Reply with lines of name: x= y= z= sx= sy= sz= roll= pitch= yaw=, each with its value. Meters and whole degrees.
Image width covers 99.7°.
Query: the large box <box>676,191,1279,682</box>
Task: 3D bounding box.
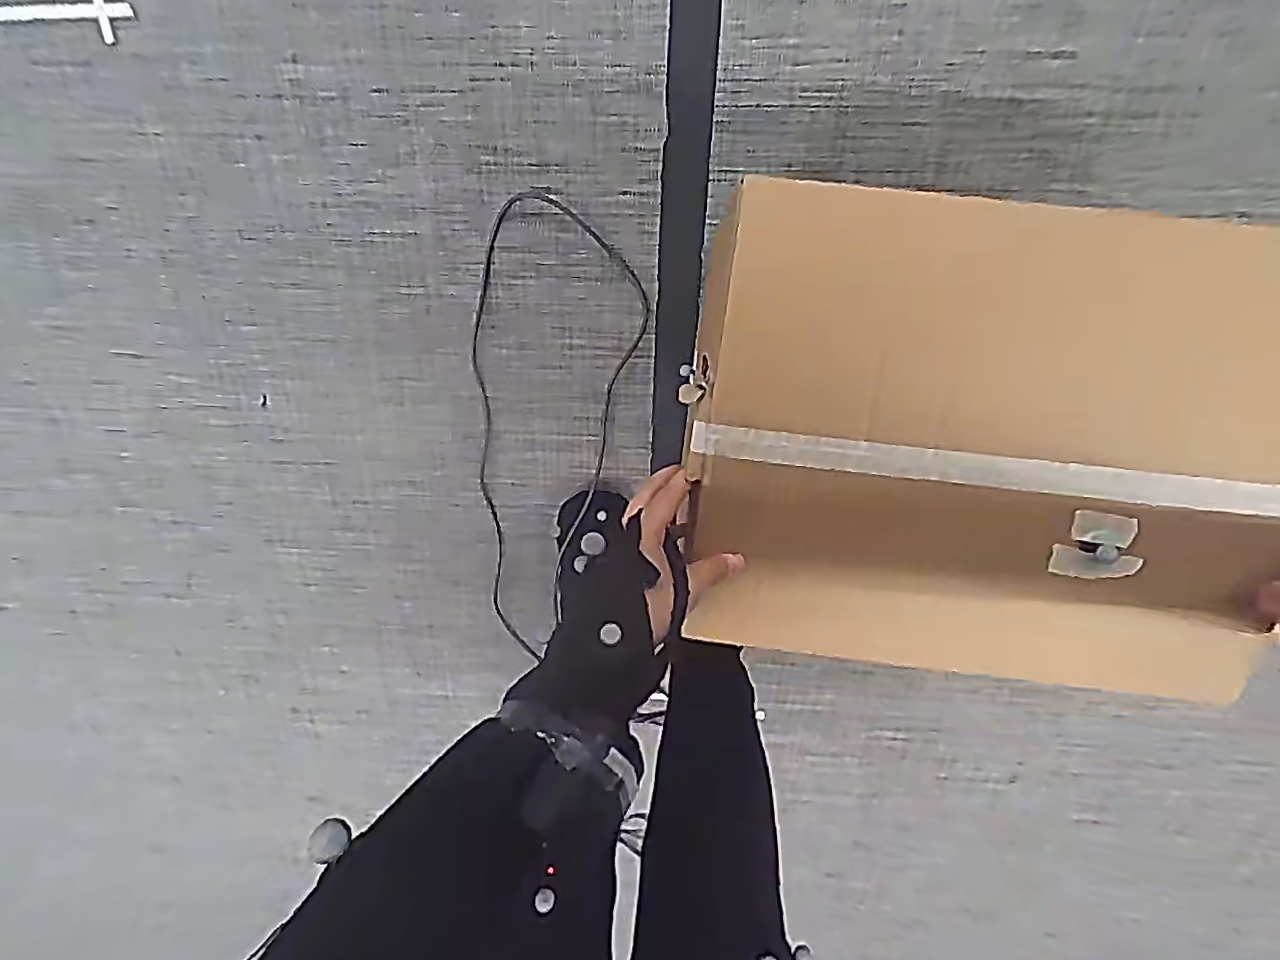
large box: x=0.245 y=-0.053 z=0.507 sx=0.408 sy=0.320 sz=0.320 roll=6 pitch=107 yaw=1
